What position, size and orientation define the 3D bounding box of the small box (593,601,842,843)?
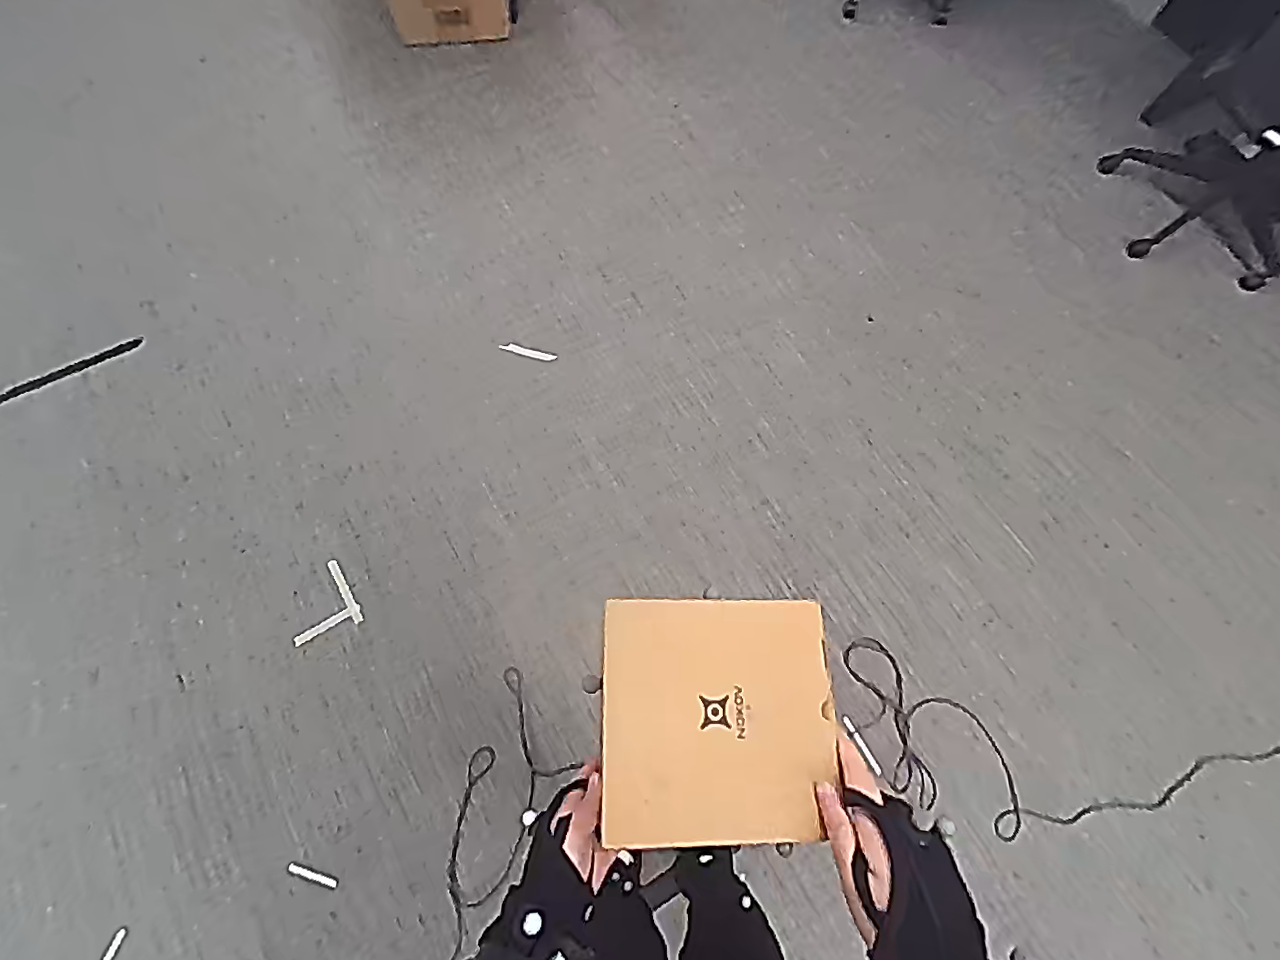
[{"bbox_3d":[0.048,0.205,0.475,0.179,0.176,0.168,2,67,-6],"label":"small box"}]
